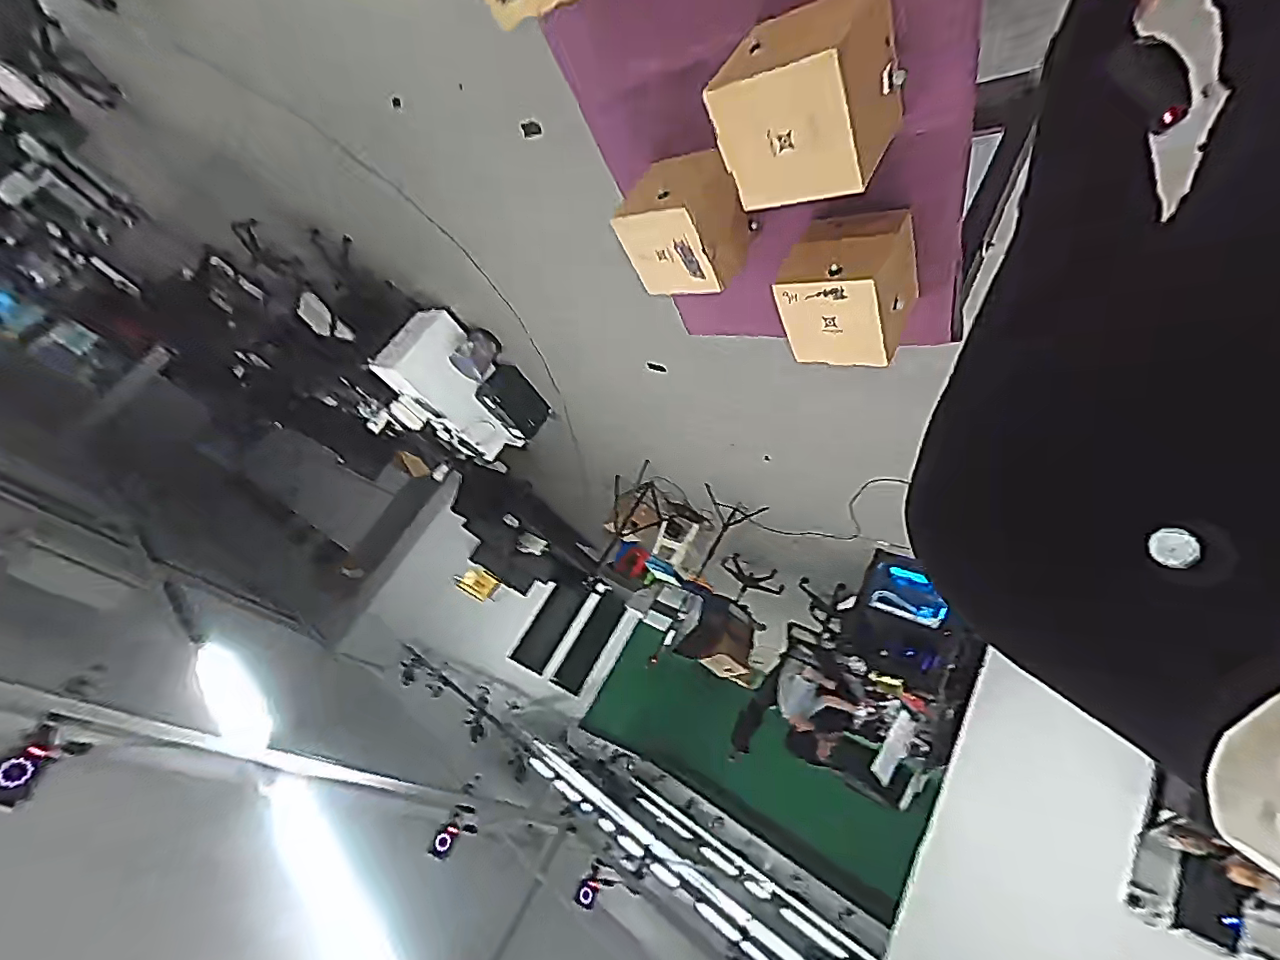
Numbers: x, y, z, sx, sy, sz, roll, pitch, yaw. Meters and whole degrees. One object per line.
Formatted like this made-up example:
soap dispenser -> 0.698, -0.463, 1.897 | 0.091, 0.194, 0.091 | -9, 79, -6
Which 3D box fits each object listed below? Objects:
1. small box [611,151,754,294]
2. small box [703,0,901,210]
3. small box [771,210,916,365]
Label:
small box -> 0.087, -0.460, 0.977 | 0.179, 0.176, 0.168 | 15, 154, 41
small box -> 0.217, -0.490, 0.709 | 0.179, 0.176, 0.168 | 12, 153, 40
small box -> 0.350, -0.319, 0.911 | 0.168, 0.176, 0.179 | 14, 154, 40
